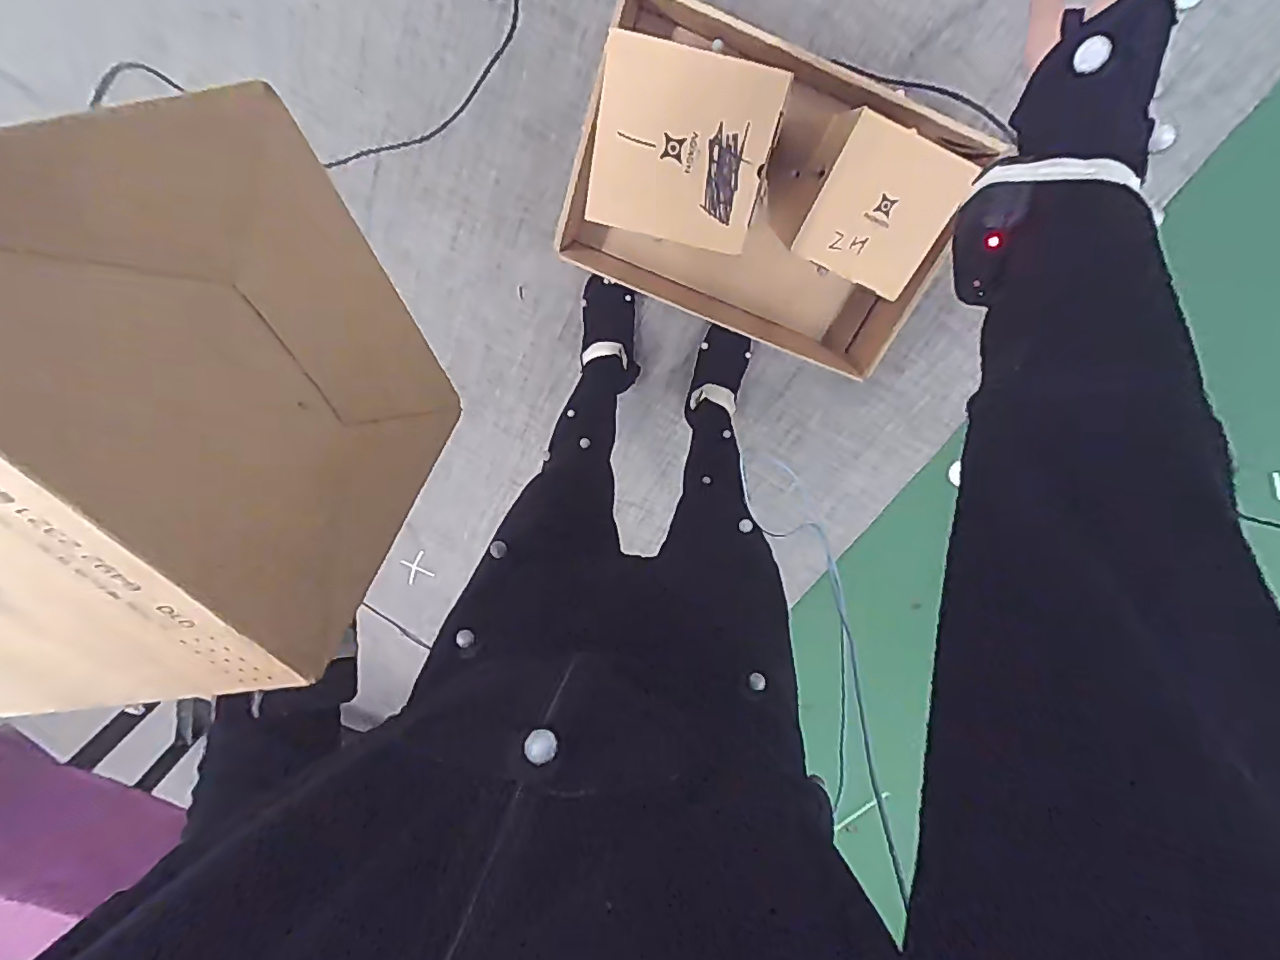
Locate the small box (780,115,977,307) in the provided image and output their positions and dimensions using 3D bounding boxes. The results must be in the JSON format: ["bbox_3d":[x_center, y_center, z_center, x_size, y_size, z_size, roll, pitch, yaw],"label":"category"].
[{"bbox_3d":[0.311,-0.374,0.755,0.168,0.176,0.179,23,121,-6],"label":"small box"}]

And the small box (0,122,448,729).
[{"bbox_3d":[-0.214,-0.023,0.228,0.176,0.179,0.168,-11,130,13],"label":"small box"}]

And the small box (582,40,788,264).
[{"bbox_3d":[0.045,-0.361,0.606,0.179,0.176,0.168,13,122,-2],"label":"small box"}]
